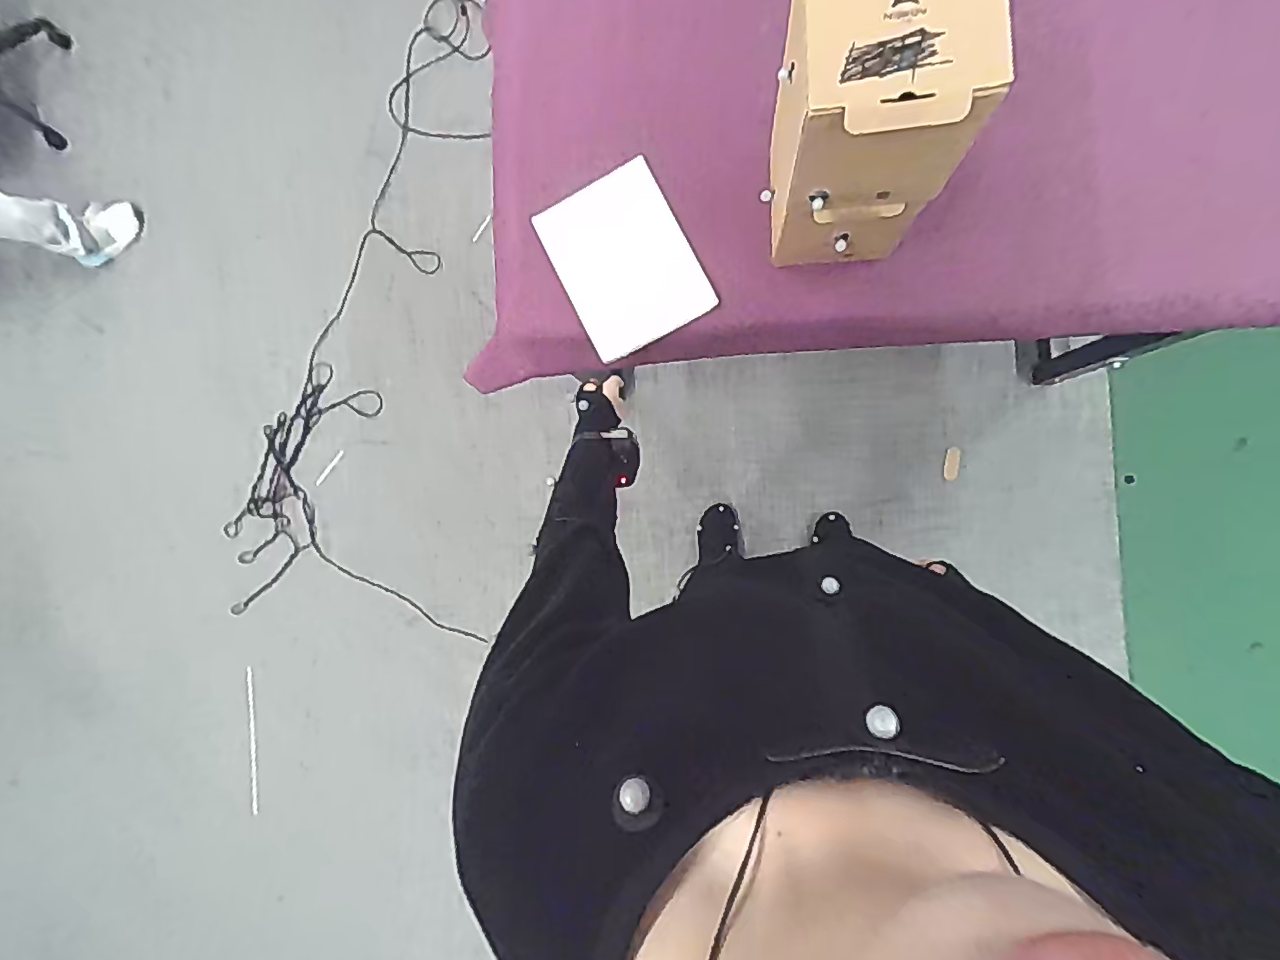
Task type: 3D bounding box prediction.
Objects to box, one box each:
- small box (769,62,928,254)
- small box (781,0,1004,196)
[{"bbox_3d":[0.261,-0.411,0.707,0.168,0.176,0.179,-1,89,8],"label":"small box"},{"bbox_3d":[0.236,-0.410,0.544,0.168,0.176,0.179,-1,87,9],"label":"small box"}]
